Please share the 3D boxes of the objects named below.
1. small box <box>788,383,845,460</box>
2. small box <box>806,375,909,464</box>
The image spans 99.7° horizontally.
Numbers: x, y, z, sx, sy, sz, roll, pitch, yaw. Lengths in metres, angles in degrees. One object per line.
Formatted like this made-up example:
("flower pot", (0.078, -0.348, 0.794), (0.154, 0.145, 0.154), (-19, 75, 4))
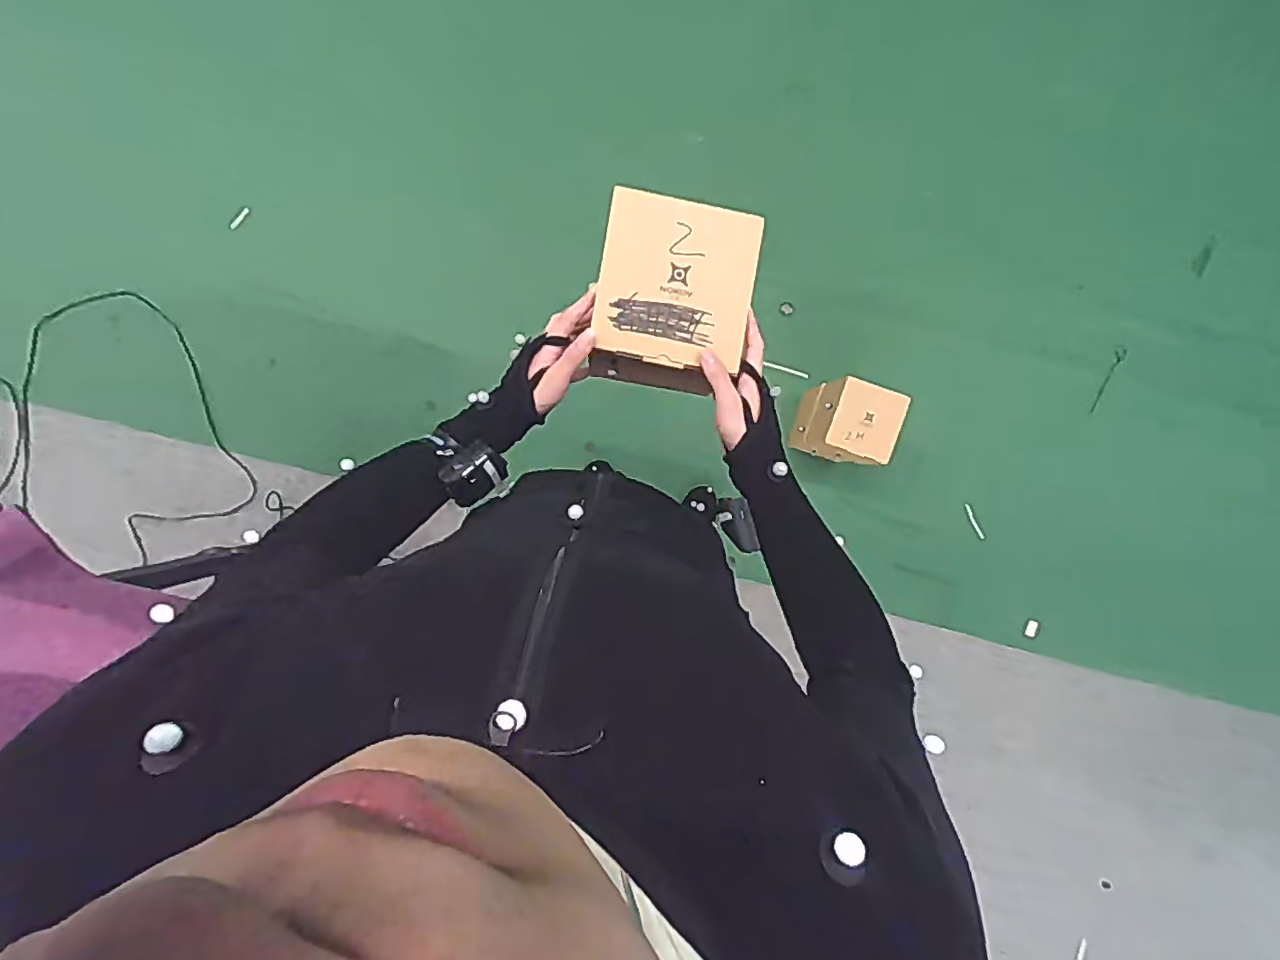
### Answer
("small box", (0.543, -0.163, 1.551), (0.168, 0.176, 0.179), (17, 93, -1))
("small box", (0.547, -0.150, 1.387), (0.168, 0.176, 0.179), (19, 93, -1))
